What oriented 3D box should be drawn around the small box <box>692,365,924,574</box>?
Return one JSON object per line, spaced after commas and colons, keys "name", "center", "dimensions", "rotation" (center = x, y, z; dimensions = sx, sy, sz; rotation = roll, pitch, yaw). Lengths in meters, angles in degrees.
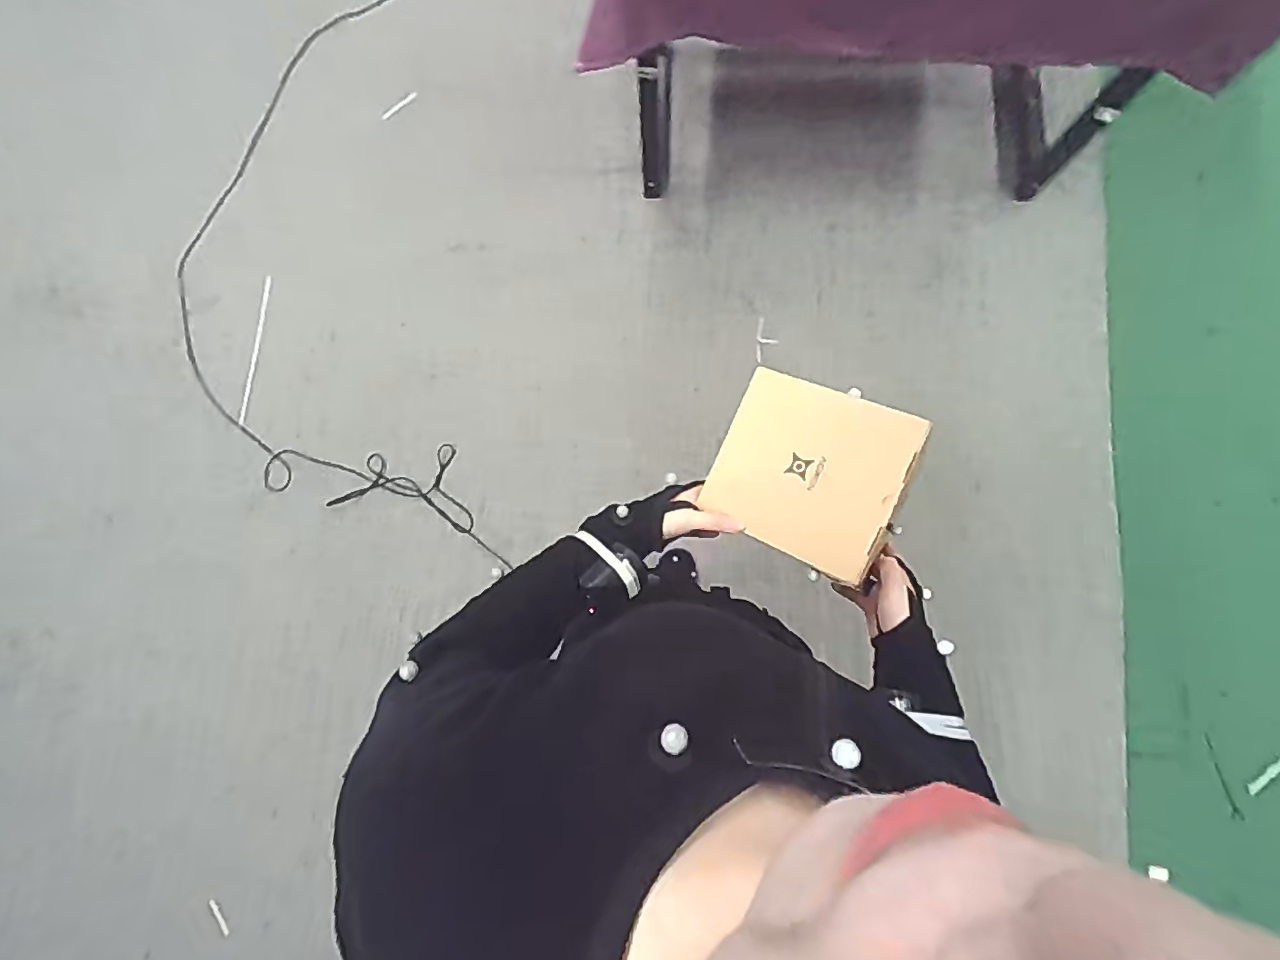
{"name": "small box", "center": [0.189, -0.005, 0.602], "dimensions": [0.179, 0.176, 0.168], "rotation": [24, 93, 25]}
